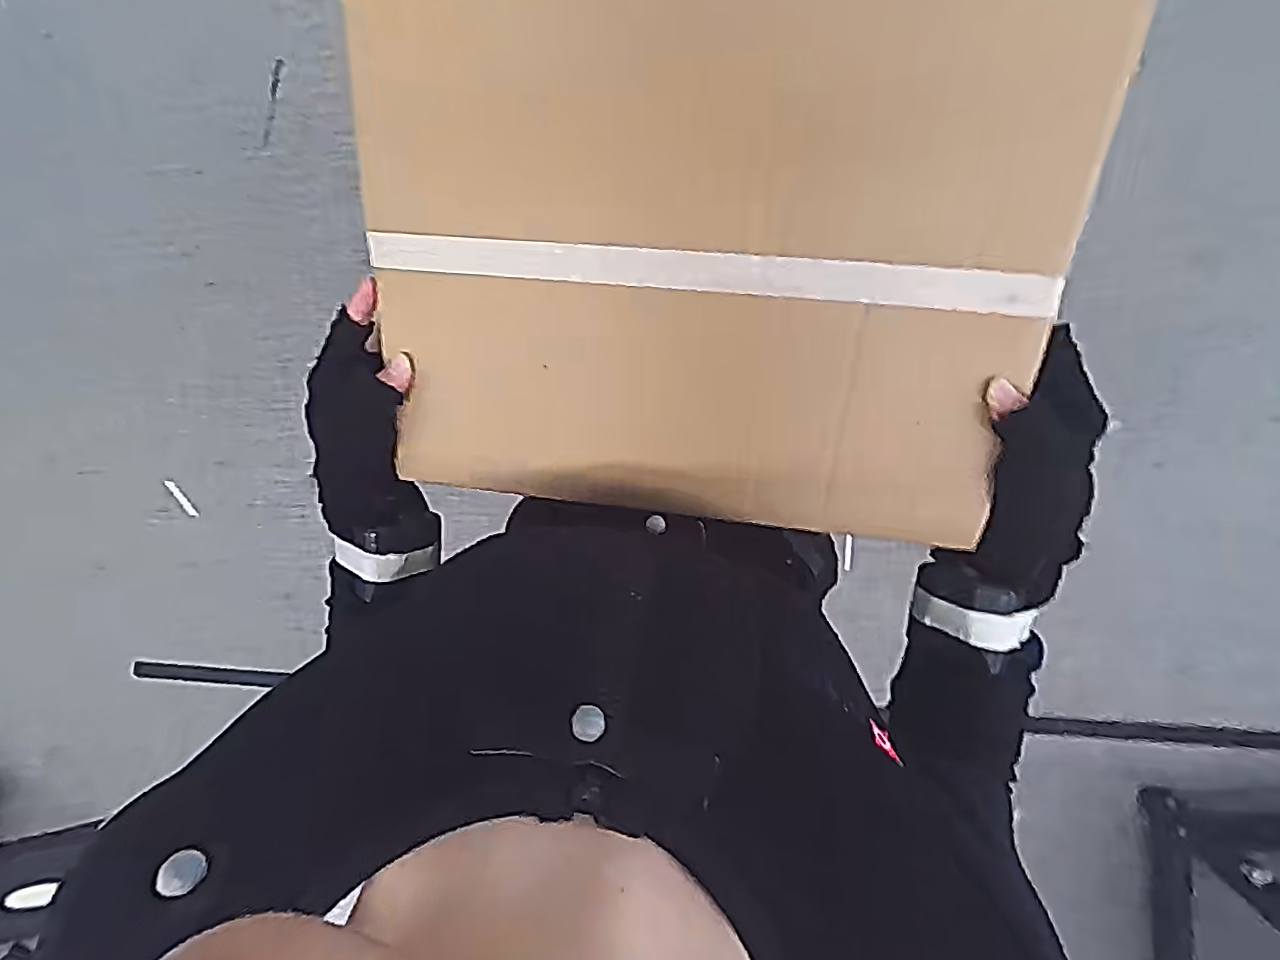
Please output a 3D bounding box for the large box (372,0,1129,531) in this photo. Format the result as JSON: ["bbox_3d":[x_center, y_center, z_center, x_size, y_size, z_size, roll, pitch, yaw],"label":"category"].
[{"bbox_3d":[0.053,-0.177,0.471,0.408,0.320,0.320,7,112,6],"label":"large box"}]
